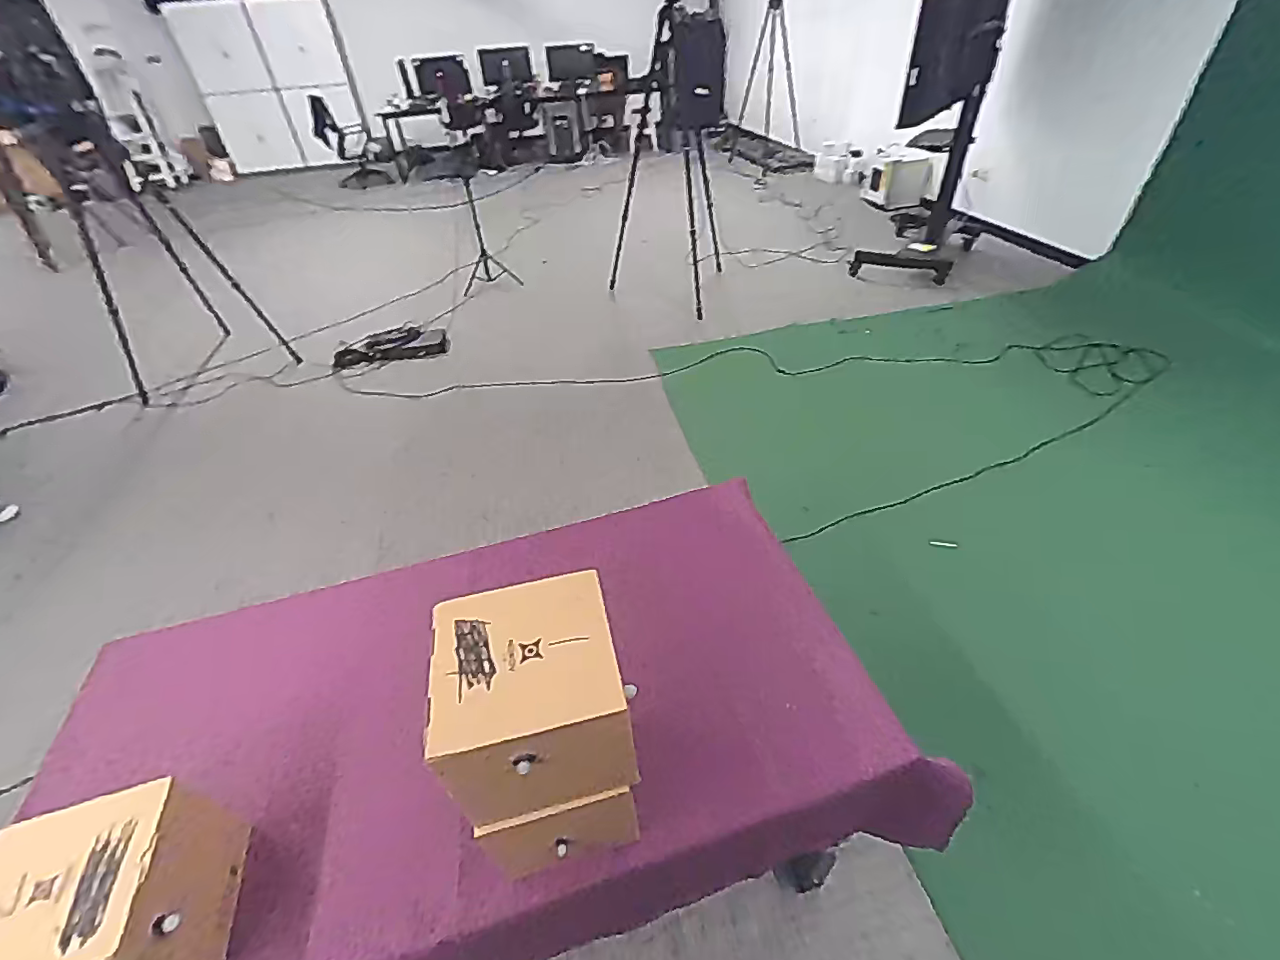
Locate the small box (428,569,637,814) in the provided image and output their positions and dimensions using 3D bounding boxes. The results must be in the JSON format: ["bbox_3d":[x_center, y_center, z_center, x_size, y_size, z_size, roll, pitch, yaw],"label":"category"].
[{"bbox_3d":[-0.107,0.225,0.575,0.179,0.176,0.168,-11,42,-8],"label":"small box"}]

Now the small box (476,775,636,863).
[{"bbox_3d":[-0.105,0.351,0.681,0.168,0.176,0.179,-11,42,-8],"label":"small box"}]
